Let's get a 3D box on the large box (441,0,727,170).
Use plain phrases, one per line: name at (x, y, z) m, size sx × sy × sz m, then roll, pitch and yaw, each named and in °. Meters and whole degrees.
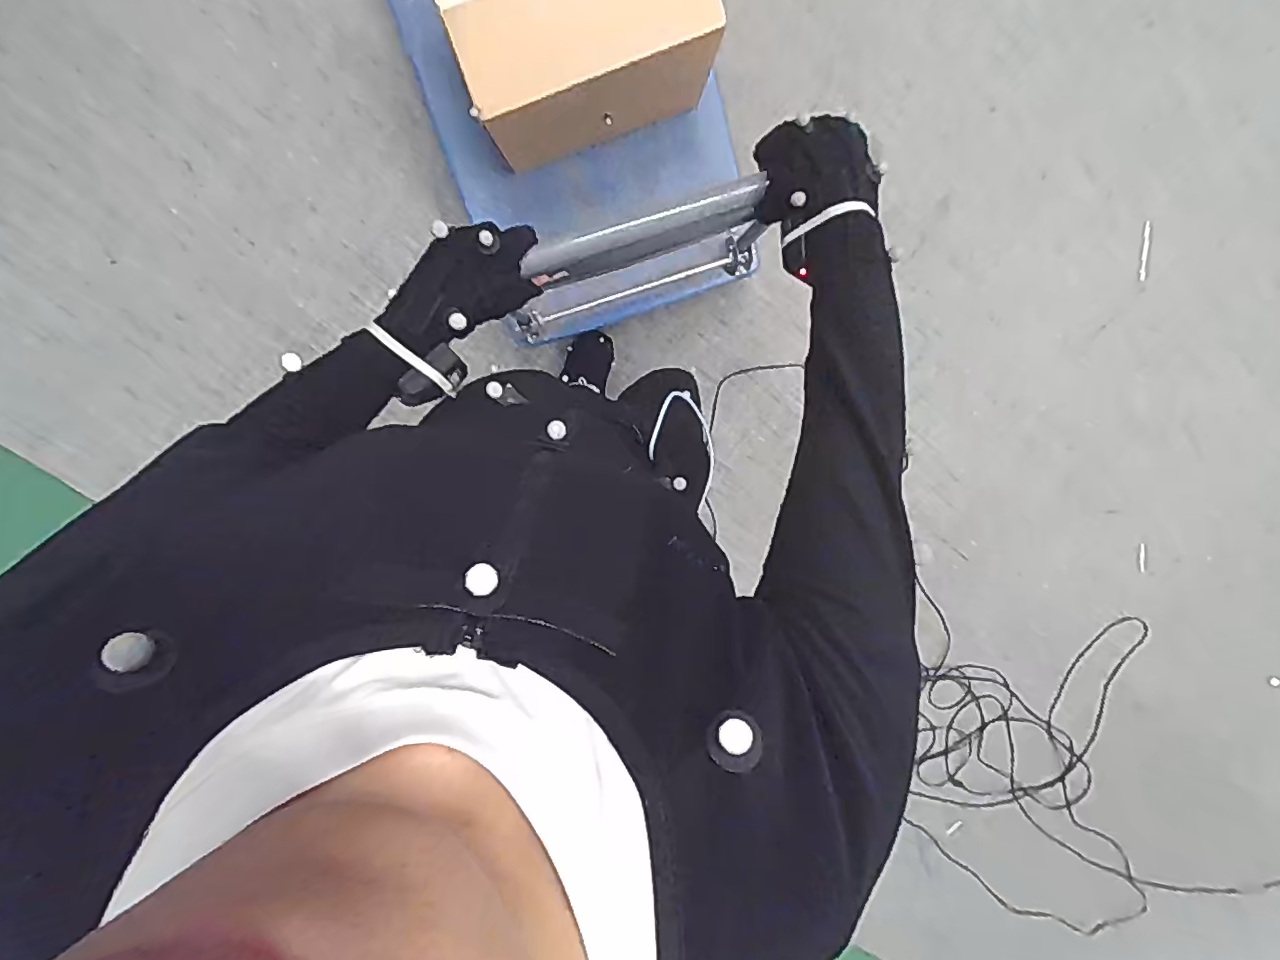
large box at (-0.107, -0.808, 0.937) m, size 0.408 × 0.320 × 0.320 m, roll -20°, pitch 105°, yaw 4°
